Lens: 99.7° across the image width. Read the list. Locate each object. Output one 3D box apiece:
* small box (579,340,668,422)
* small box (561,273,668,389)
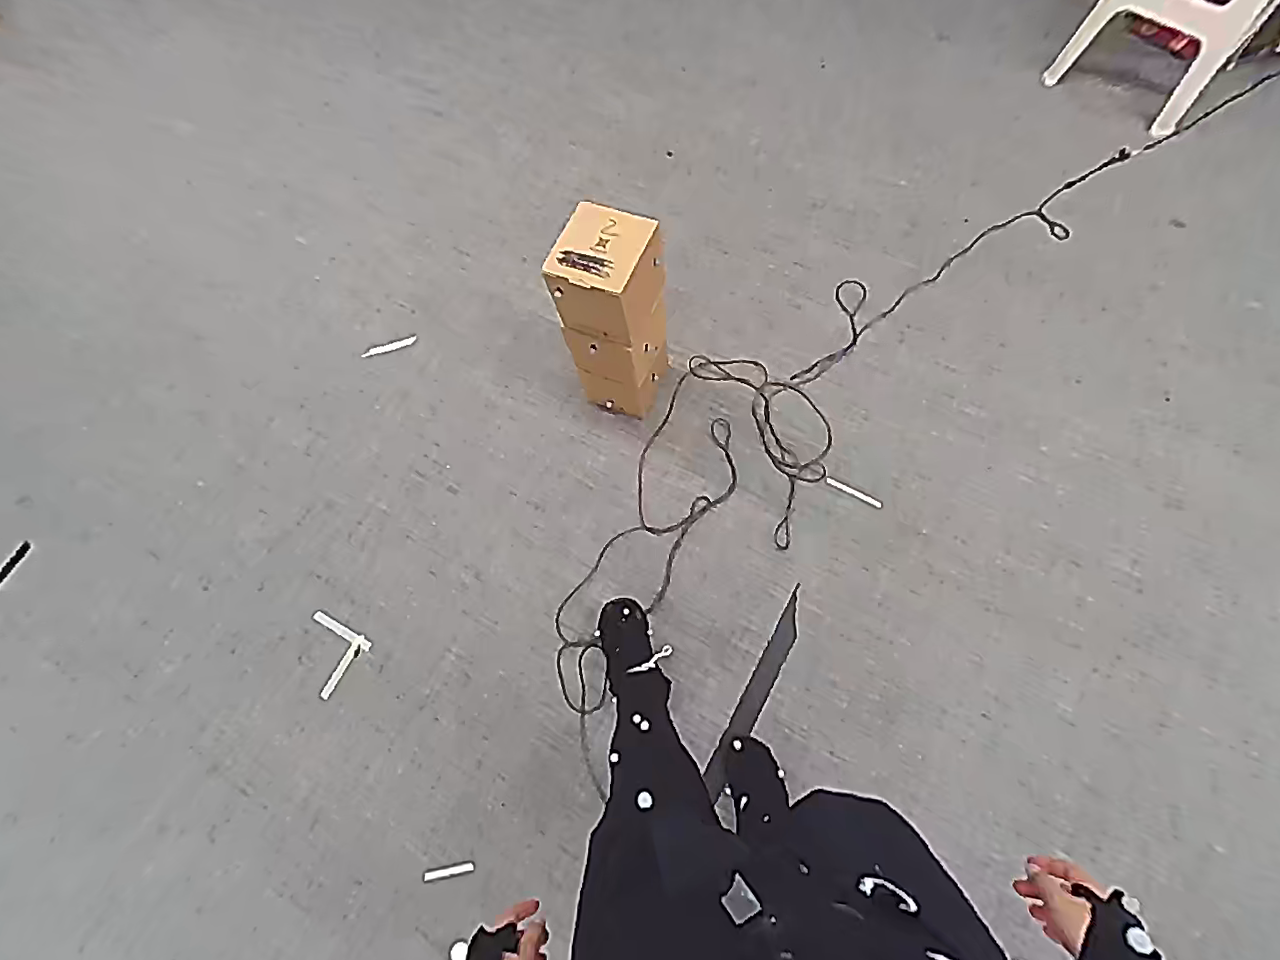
[{"bbox_3d":[-0.034,-0.277,1.374,0.168,0.176,0.179,20,75,13],"label":"small box"},{"bbox_3d":[-0.047,-0.328,1.221,0.179,0.176,0.168,22,75,14],"label":"small box"}]
